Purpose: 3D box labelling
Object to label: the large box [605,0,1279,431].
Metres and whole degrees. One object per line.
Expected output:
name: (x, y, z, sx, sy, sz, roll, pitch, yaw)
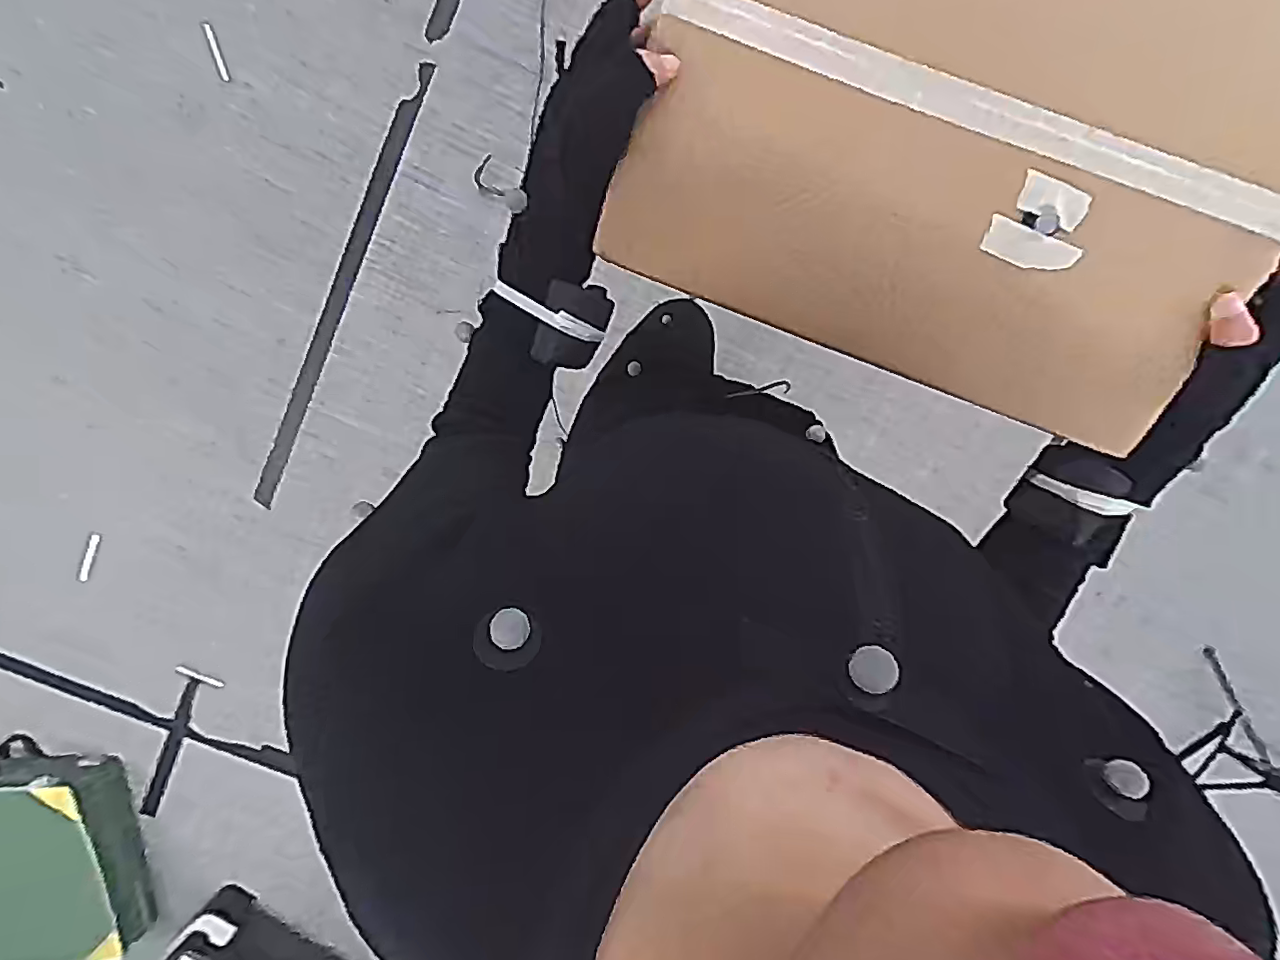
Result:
large box: (0.224, -0.285, 0.480, 0.408, 0.320, 0.320, 21, 112, 0)
